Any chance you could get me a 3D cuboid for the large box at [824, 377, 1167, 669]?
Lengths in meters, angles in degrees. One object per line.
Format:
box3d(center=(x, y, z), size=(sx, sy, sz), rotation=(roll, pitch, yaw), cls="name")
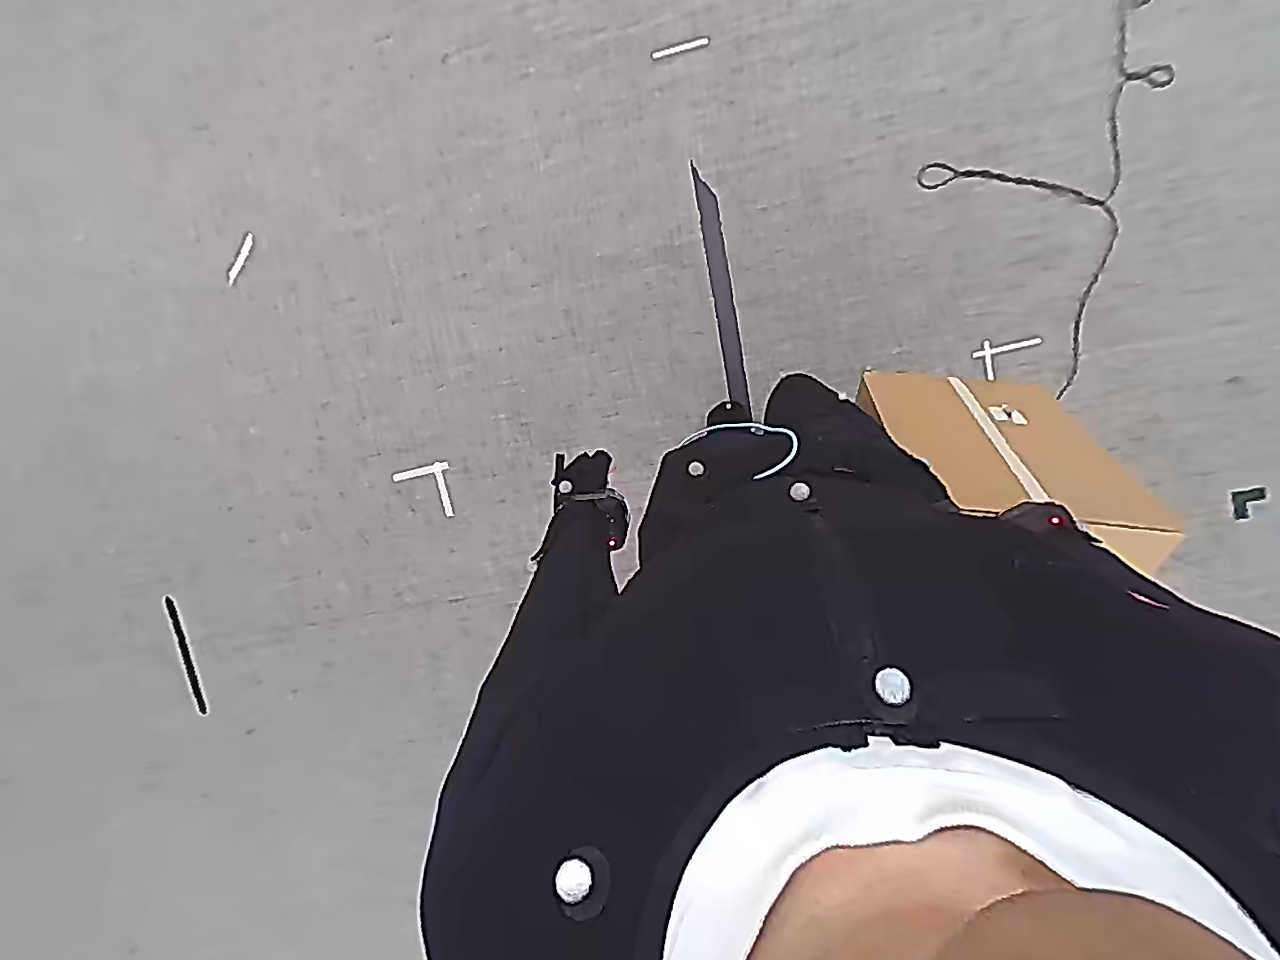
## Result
box3d(center=(0.531, 0.055, 0.931), size=(0.320, 0.408, 0.320), rotation=(7, 125, 5), cls="large box")
